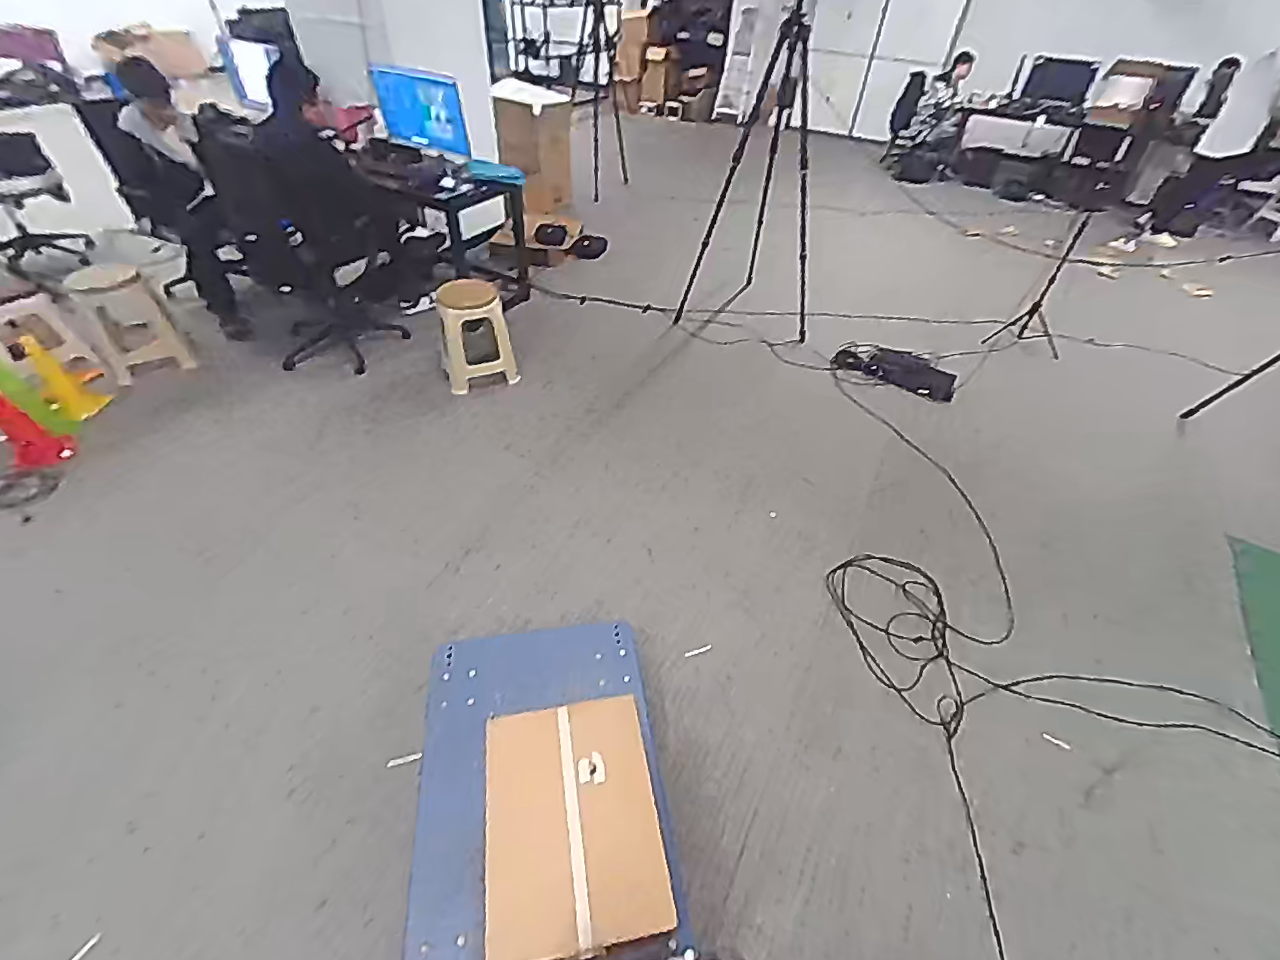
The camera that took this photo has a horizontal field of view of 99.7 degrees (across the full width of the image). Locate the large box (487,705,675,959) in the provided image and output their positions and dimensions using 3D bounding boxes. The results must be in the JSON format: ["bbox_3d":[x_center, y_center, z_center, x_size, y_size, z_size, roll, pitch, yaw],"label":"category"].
[{"bbox_3d":[-0.136,0.750,1.119,0.320,0.320,0.408,-5,43,-11],"label":"large box"}]
